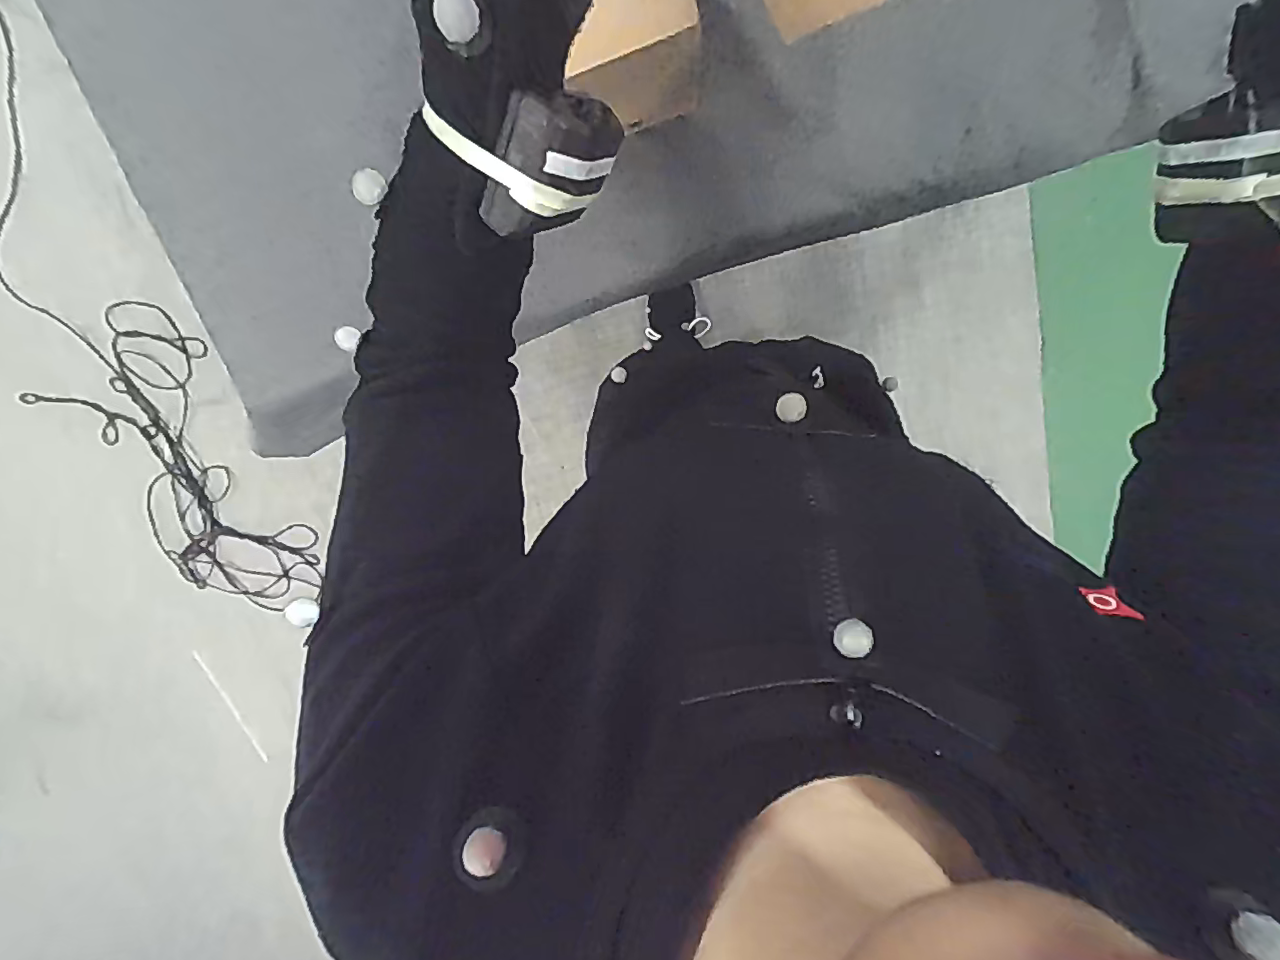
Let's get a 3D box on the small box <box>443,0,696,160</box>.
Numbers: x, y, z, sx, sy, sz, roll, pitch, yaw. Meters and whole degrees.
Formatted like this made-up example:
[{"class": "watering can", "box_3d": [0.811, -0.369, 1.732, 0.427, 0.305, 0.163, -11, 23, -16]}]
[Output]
[{"class": "small box", "box_3d": [-0.057, -0.393, 0.433, 0.168, 0.176, 0.179, -15, 107, 10]}]
